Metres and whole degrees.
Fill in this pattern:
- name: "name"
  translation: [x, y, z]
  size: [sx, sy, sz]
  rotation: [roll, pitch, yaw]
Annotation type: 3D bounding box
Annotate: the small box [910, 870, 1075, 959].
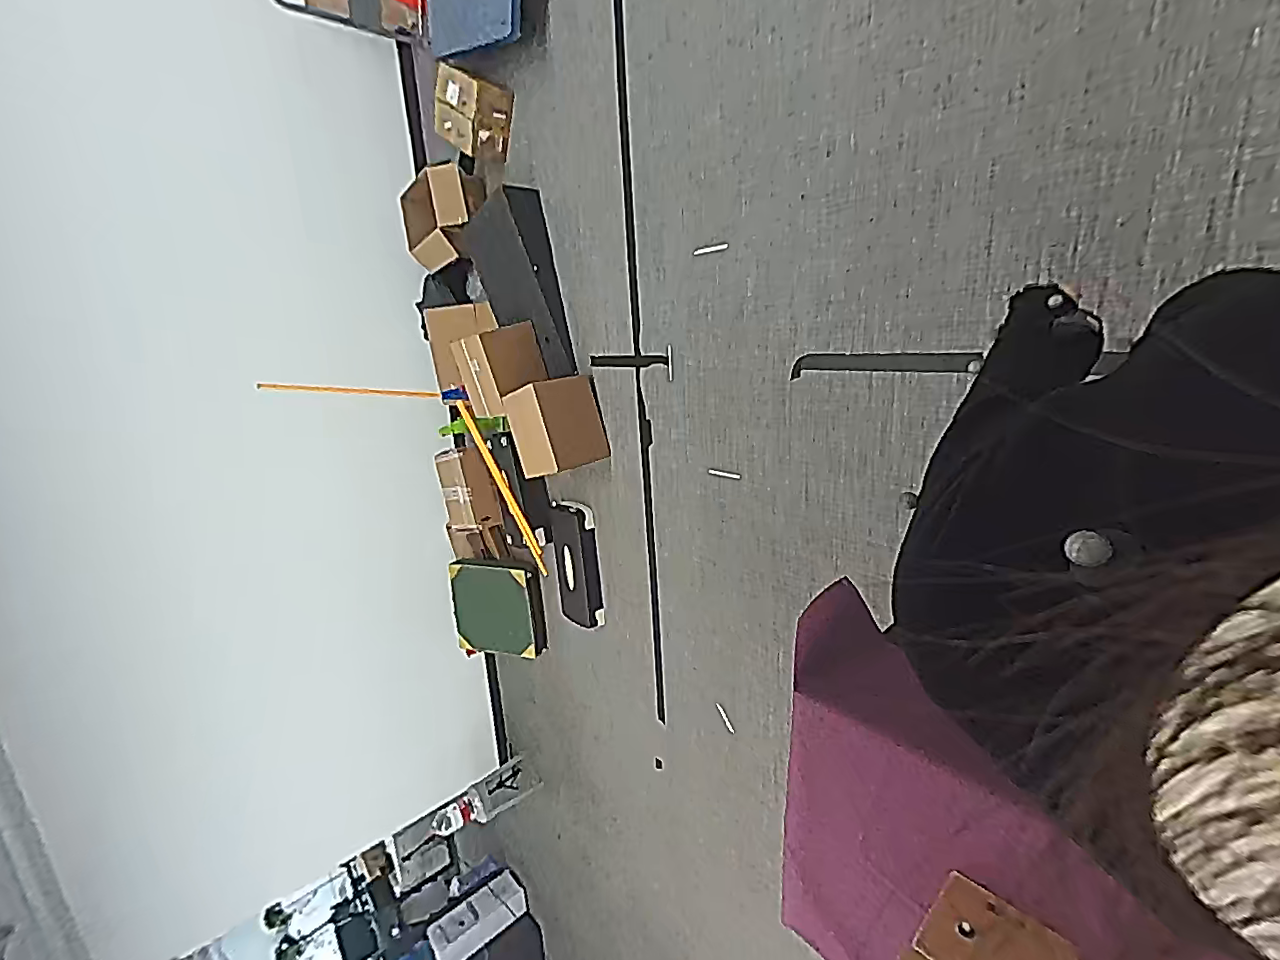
- name: "small box"
  translation: [0.504, 0.729, 0.785]
  size: [0.168, 0.176, 0.179]
  rotation: [14, 113, 48]
